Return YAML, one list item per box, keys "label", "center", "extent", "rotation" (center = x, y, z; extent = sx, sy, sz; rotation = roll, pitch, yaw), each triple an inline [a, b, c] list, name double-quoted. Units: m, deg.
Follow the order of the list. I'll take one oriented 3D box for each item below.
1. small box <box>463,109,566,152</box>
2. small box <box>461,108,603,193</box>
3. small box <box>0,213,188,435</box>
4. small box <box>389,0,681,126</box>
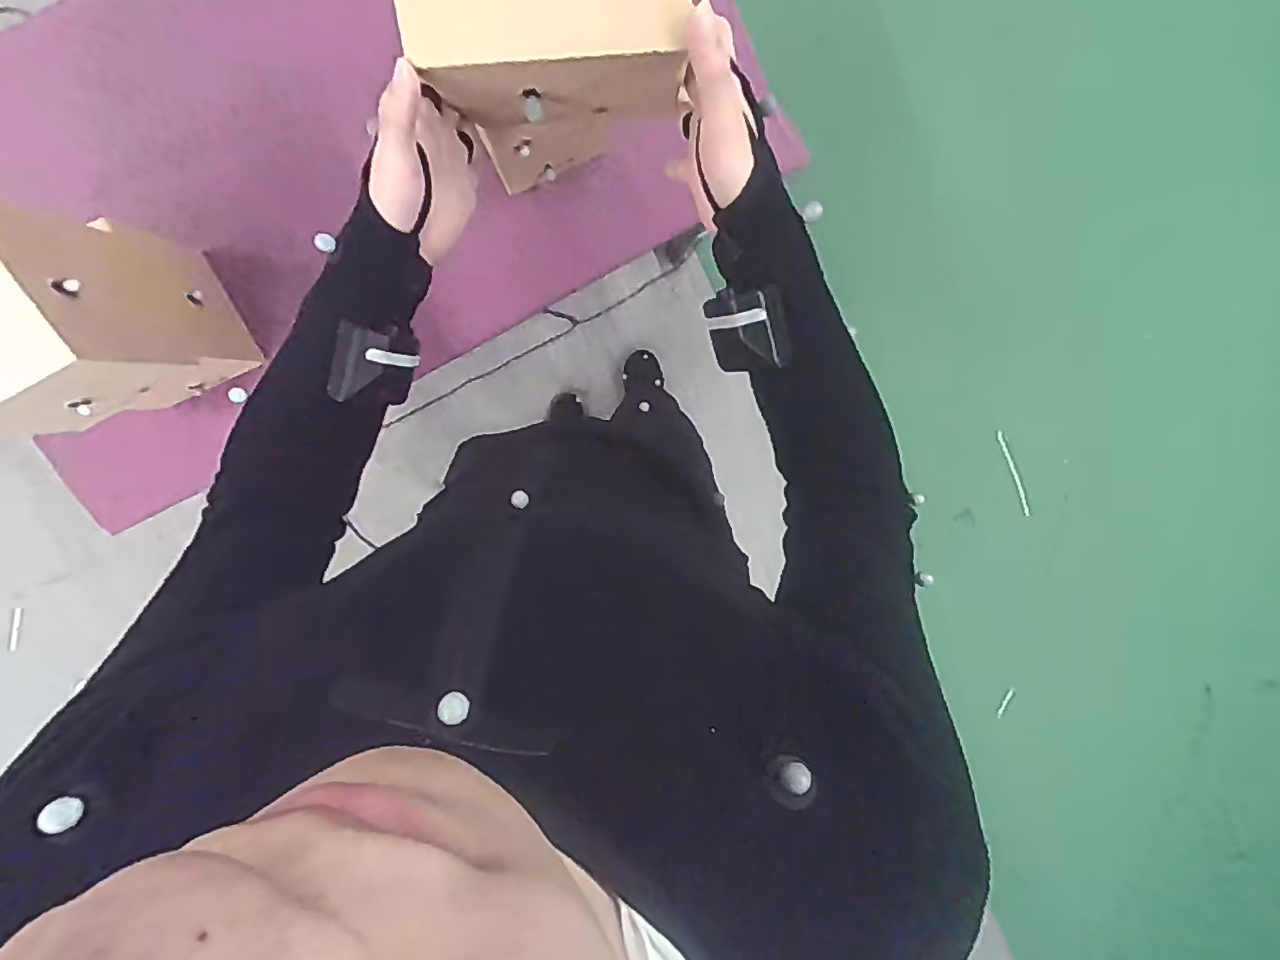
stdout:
- label: "small box"
  center: [-0.136, -0.476, 0.557]
  extent: [0.168, 0.176, 0.179]
  rotation: [-29, 100, 1]
- label: "small box"
  center: [-0.159, -0.521, 0.714]
  extent: [0.168, 0.176, 0.179]
  rotation: [-26, 101, 1]
- label: "small box"
  center: [-0.639, -0.157, 0.559]
  extent: [0.168, 0.176, 0.179]
  rotation: [-29, 102, -1]
- label: "small box"
  center: [-0.060, -0.347, 0.352]
  extent: [0.168, 0.176, 0.179]
  rotation: [-3, 113, 1]
